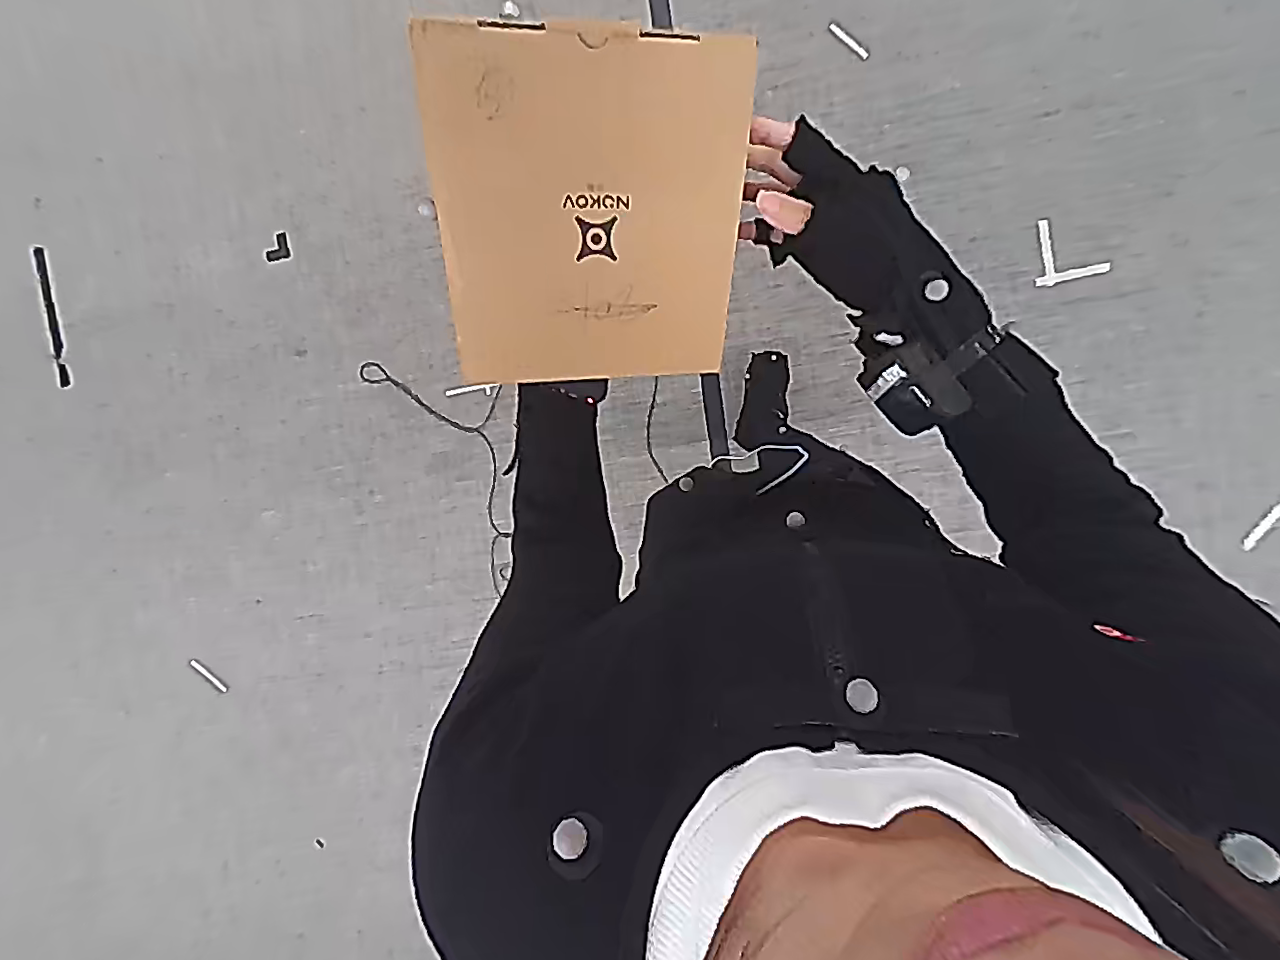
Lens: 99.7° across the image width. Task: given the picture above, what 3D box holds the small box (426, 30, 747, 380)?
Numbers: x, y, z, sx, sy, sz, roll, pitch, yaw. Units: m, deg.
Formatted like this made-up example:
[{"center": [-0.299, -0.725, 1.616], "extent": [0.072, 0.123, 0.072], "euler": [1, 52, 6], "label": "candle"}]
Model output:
[{"center": [-0.041, -0.185, 0.377], "extent": [0.168, 0.176, 0.179], "euler": [-4, 124, -10], "label": "small box"}]
